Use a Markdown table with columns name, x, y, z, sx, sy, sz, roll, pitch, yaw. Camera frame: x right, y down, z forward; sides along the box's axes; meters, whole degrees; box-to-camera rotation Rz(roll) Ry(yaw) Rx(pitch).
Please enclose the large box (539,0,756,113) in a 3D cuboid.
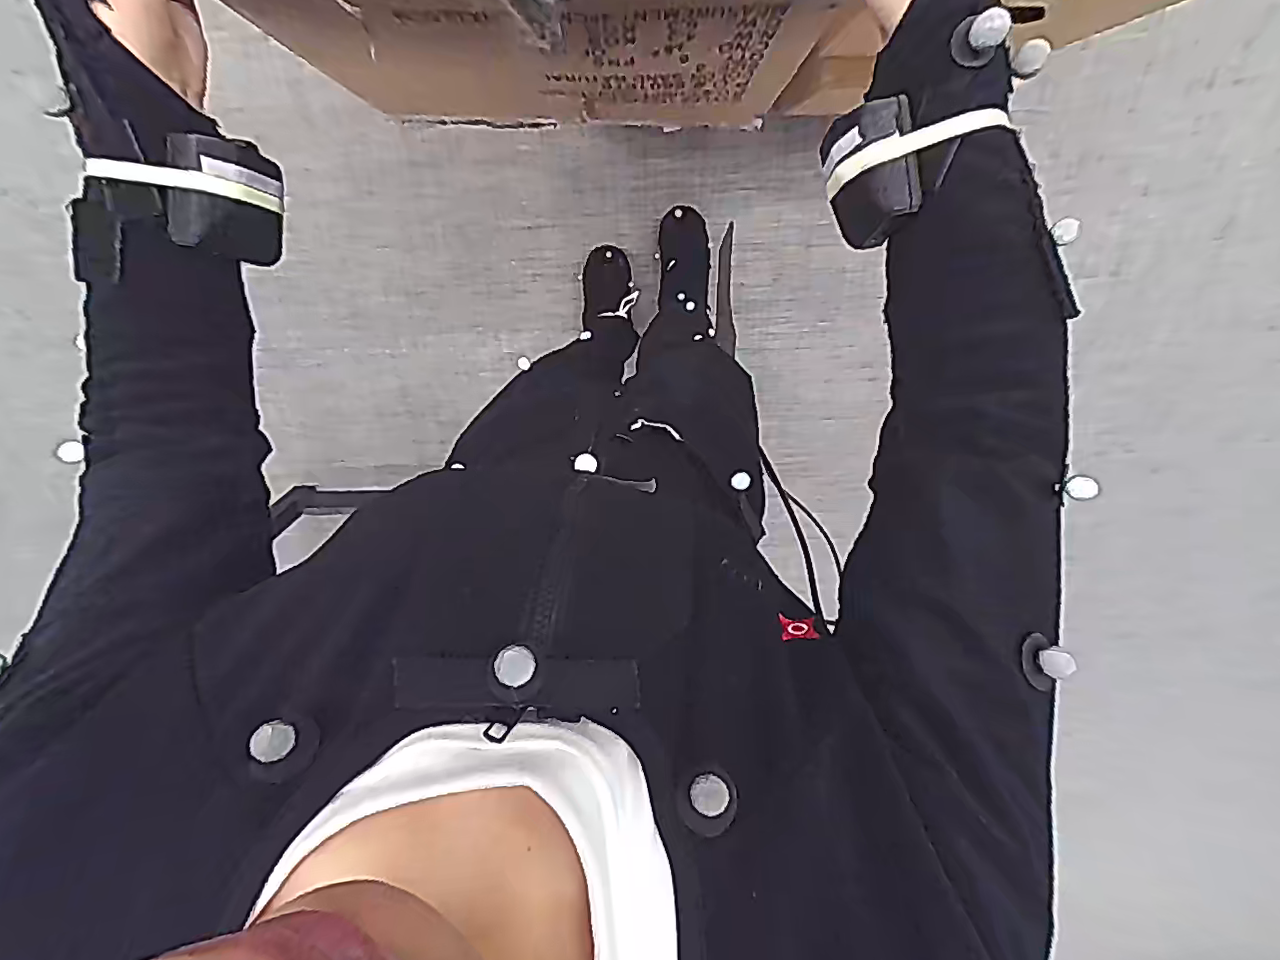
| name | x | y | z | sx | sy | sz | roll | pitch | yaw |
| --- | --- | --- | --- | --- | --- | --- | --- | --- | --- |
| large box | 0.006 | -0.844 | 0.850 | 0.320 | 0.320 | 0.408 | -2 | 118 | 3 |
